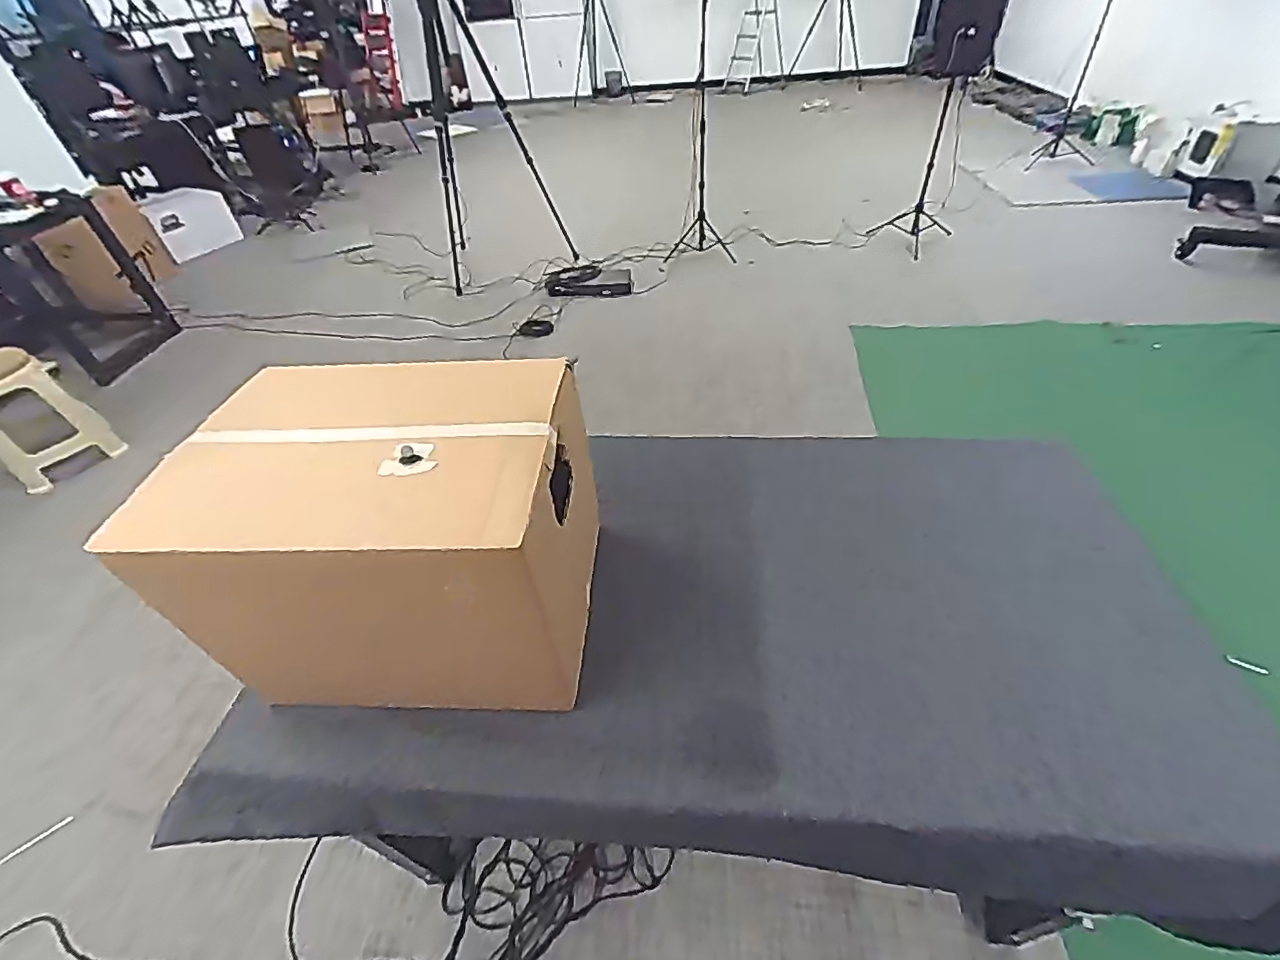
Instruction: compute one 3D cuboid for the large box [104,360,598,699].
[{"bbox_3d":[-0.276,0.061,0.684,0.408,0.320,0.320,0,44,3],"label":"large box"}]
